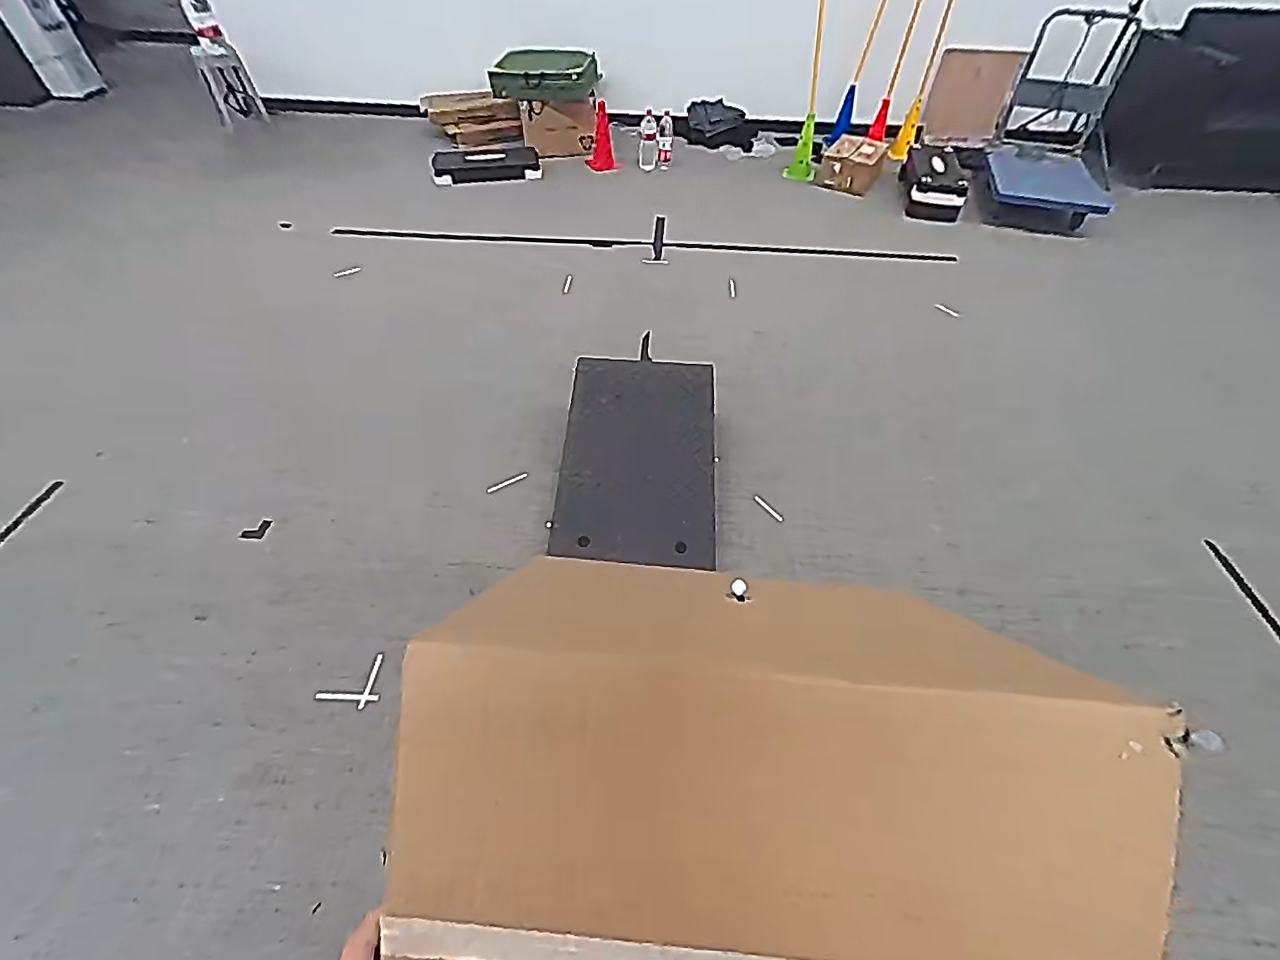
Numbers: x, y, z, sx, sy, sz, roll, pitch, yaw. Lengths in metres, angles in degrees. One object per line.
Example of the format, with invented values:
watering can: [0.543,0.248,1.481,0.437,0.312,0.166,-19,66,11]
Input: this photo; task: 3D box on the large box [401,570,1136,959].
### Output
large box: [0.066,0.259,0.448,0.408,0.320,0.320,4,92,1]

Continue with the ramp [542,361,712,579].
ramp: [-0.020,0.020,1.690,0.509,0.206,0.991,3,50,-1]
